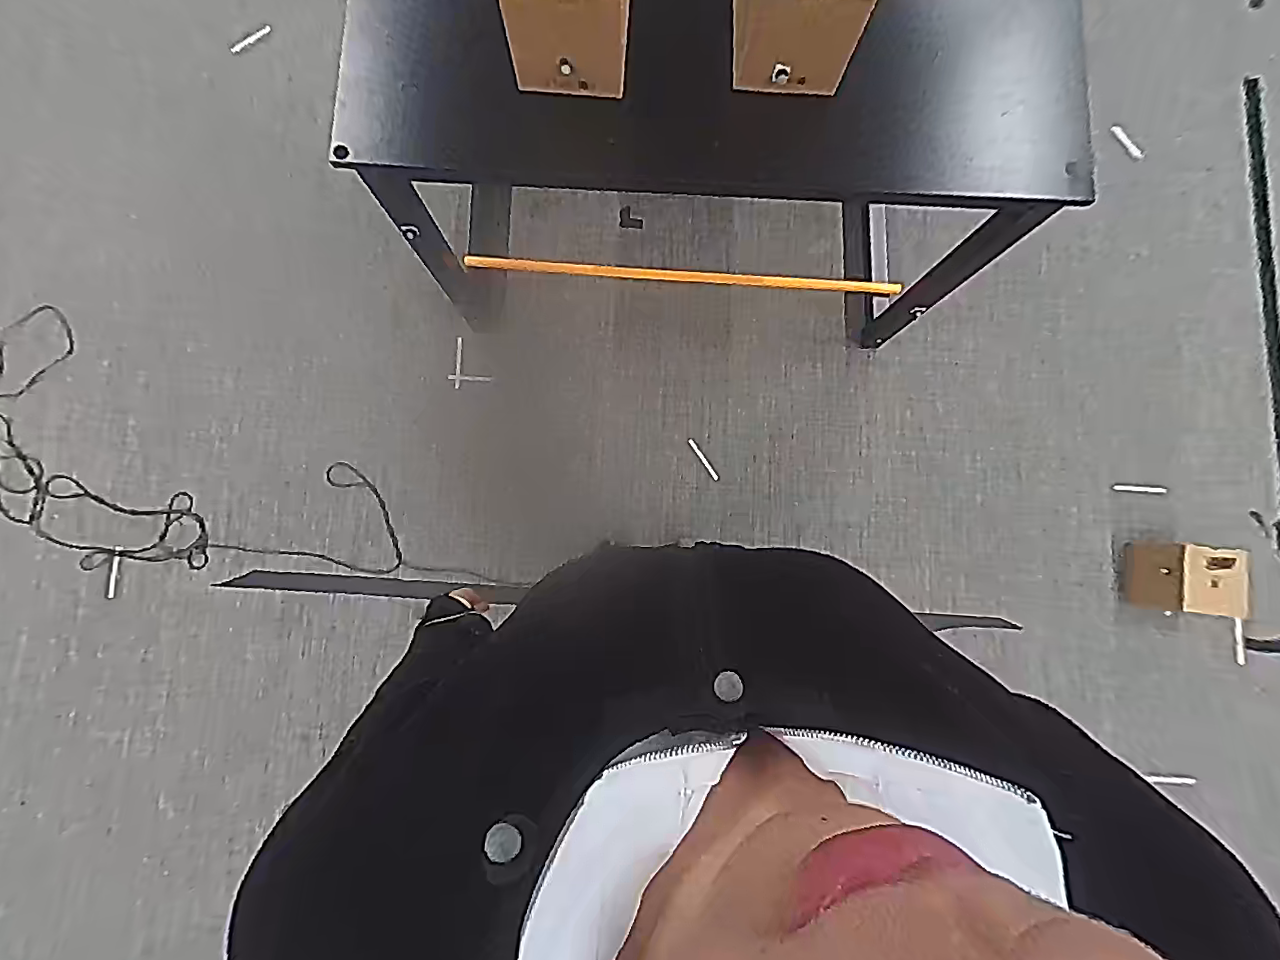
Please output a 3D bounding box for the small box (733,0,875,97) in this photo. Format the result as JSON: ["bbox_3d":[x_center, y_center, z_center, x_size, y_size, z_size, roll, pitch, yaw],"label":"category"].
[{"bbox_3d":[0.233,-0.716,0.801,0.168,0.176,0.179,1,85,0],"label":"small box"}]

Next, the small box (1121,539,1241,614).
[{"bbox_3d":[1.457,0.256,1.465,0.168,0.176,0.179,6,85,-1],"label":"small box"}]

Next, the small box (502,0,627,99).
[{"bbox_3d":[-0.104,-0.707,0.787,0.168,0.176,0.179,4,84,-1],"label":"small box"}]
